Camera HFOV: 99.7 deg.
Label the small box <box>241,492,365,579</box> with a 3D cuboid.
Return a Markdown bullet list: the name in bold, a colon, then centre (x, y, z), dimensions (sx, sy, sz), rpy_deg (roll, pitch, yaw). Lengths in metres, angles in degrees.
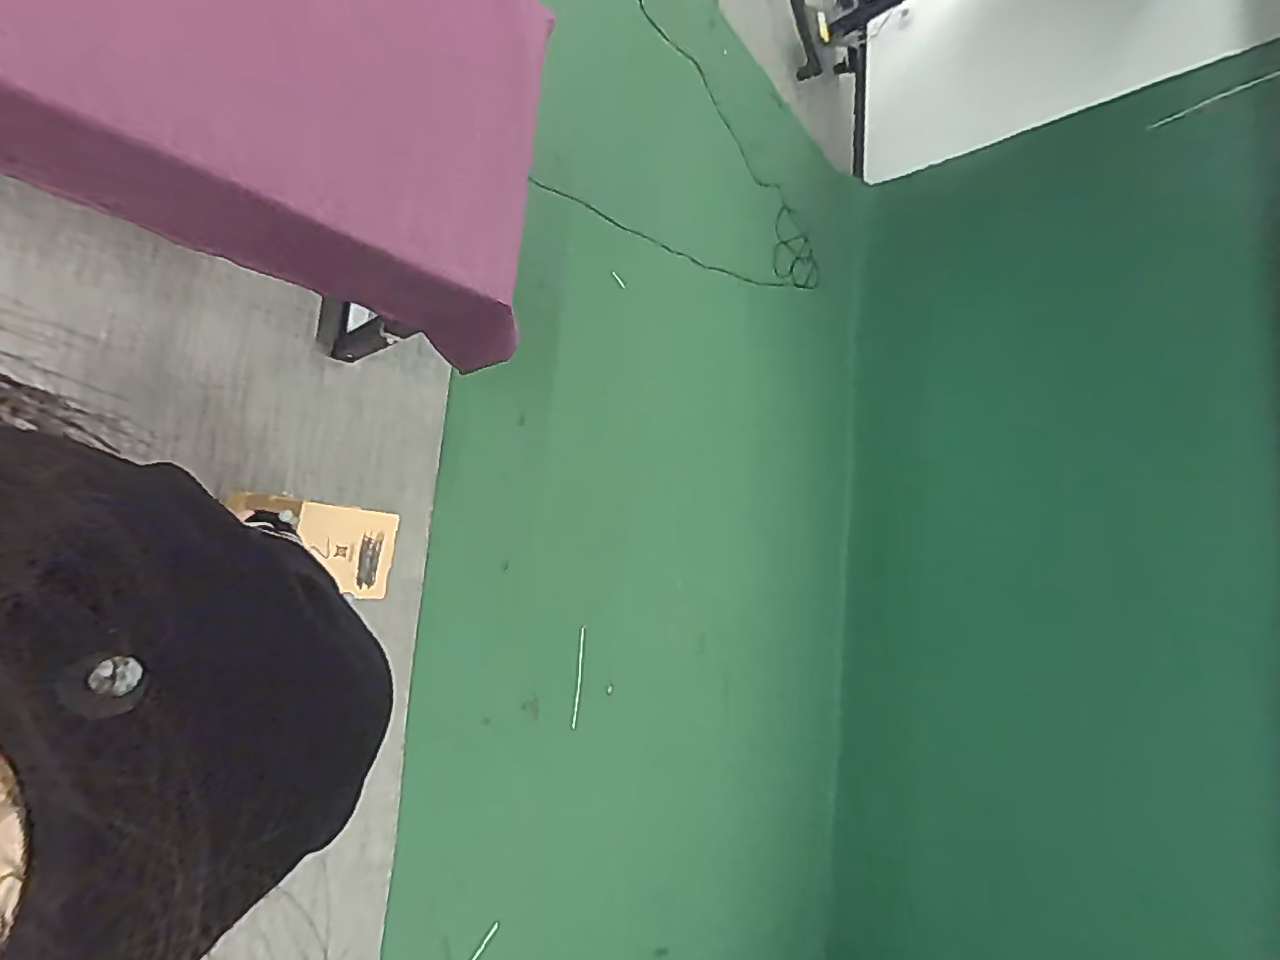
- **small box**: centre (-0.723, 0.119, 1.157), dimensions (0.179, 0.176, 0.168), rpy_deg (14, 80, -48)

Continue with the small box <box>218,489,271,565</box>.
- **small box**: centre (-0.850, 0.119, 1.259), dimensions (0.179, 0.176, 0.168), rpy_deg (18, 76, -47)
